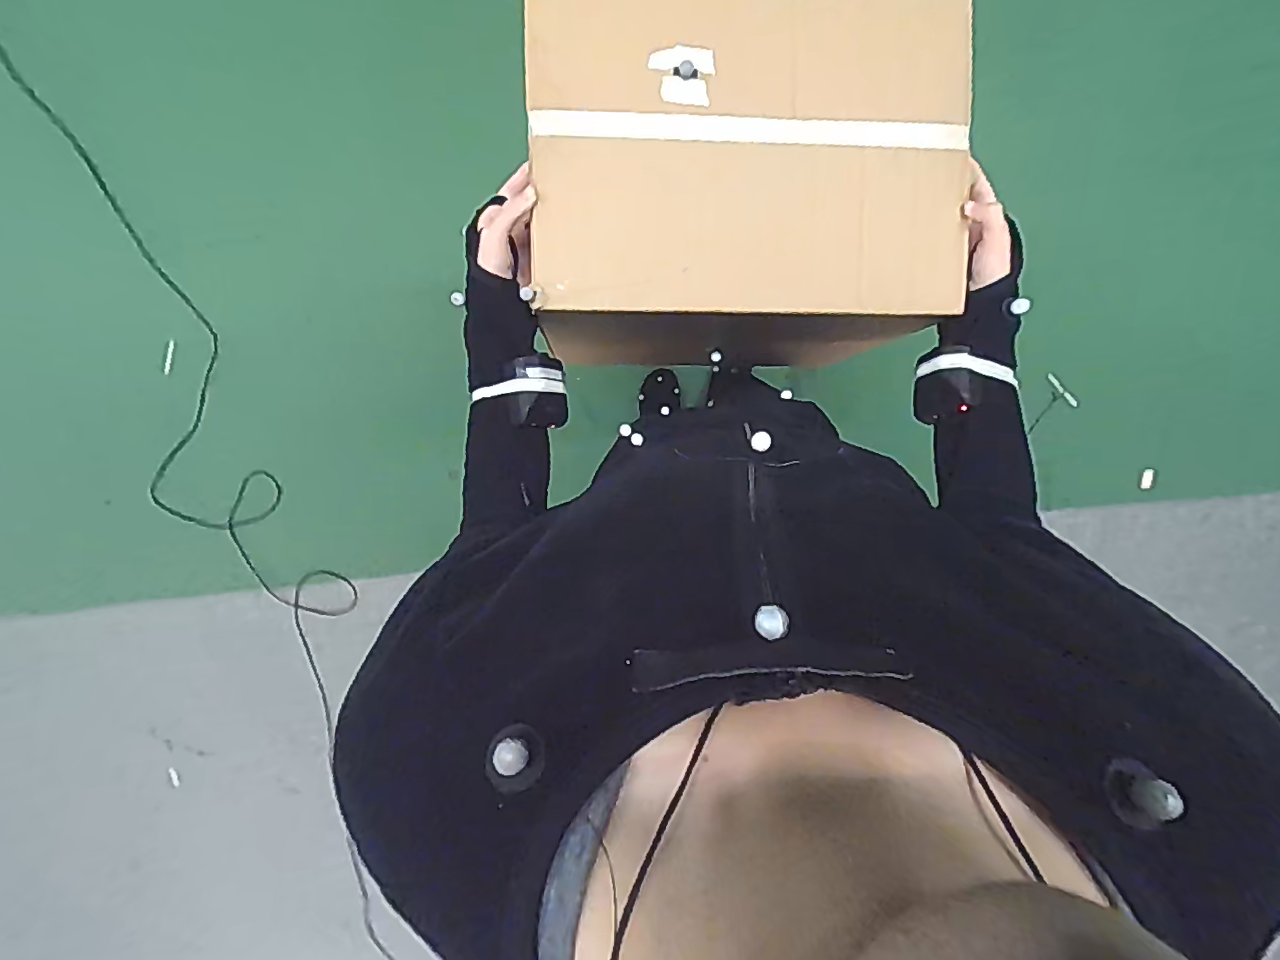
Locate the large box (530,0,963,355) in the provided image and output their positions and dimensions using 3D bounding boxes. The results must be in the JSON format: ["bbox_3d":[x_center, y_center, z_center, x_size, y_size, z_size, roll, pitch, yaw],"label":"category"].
[{"bbox_3d":[0.093,-0.325,0.644,0.408,0.320,0.320,0,93,-4],"label":"large box"}]
